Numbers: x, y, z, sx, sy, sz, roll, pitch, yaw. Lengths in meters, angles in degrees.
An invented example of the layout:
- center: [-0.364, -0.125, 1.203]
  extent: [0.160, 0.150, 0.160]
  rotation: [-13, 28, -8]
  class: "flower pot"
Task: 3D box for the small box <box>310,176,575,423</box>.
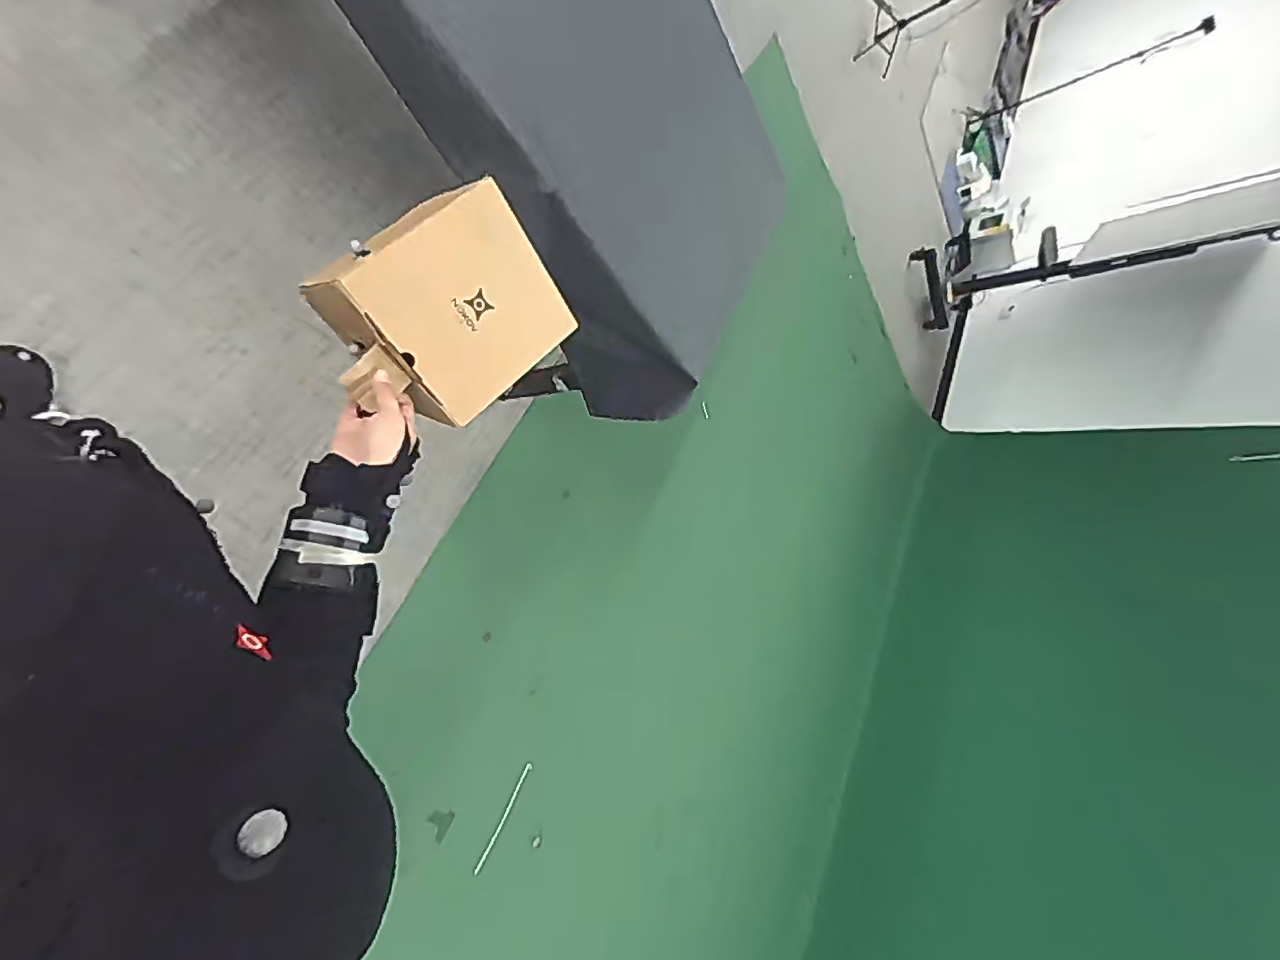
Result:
- center: [-0.209, -0.189, 0.574]
  extent: [0.179, 0.176, 0.168]
  rotation: [-47, 129, -20]
  class: "small box"
